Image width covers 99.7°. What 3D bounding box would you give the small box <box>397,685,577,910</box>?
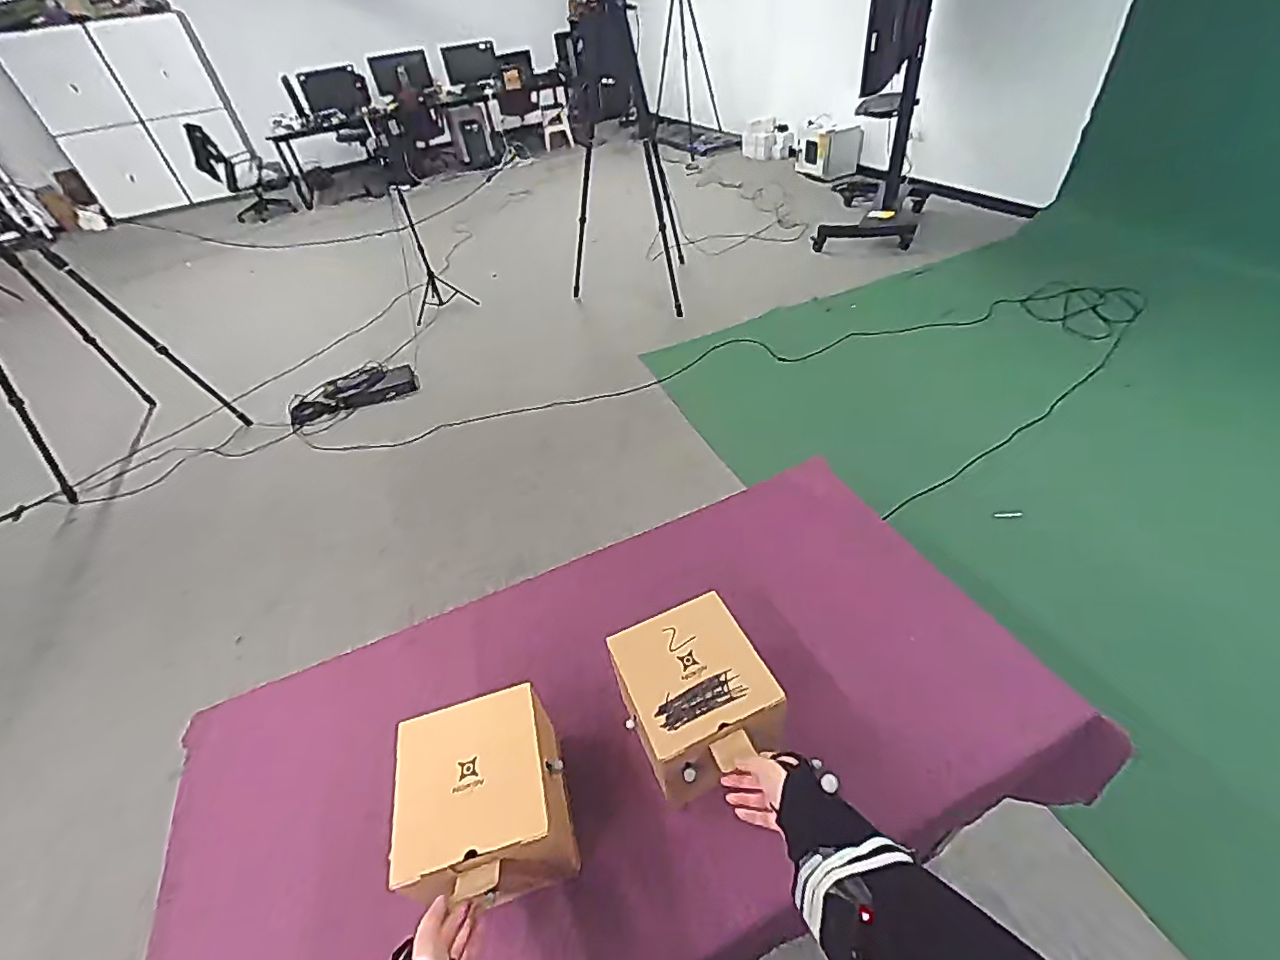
[{"bbox_3d":[-0.185,0.397,0.679,0.168,0.176,0.179,-16,44,-7],"label":"small box"}]
